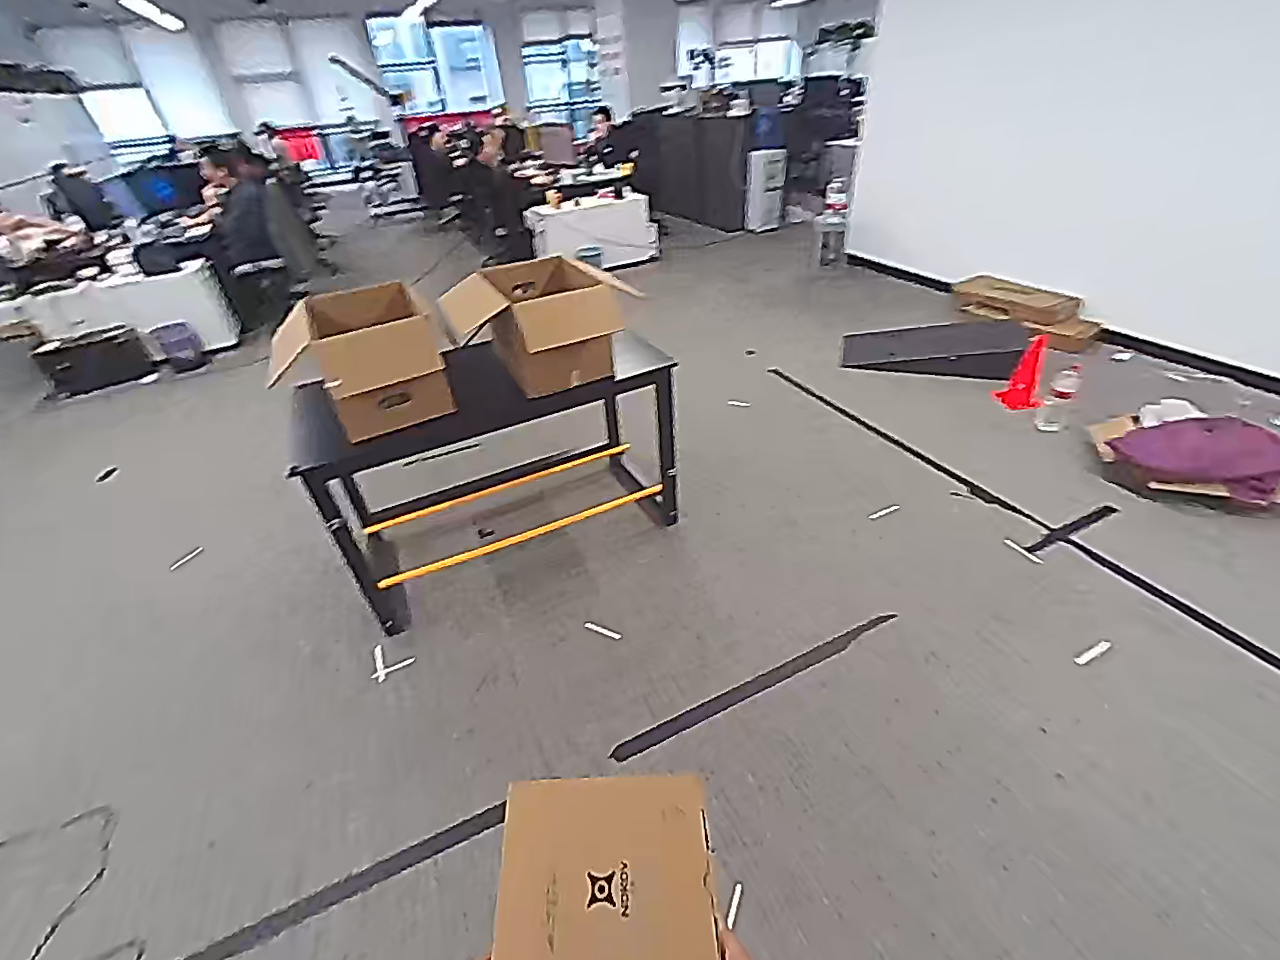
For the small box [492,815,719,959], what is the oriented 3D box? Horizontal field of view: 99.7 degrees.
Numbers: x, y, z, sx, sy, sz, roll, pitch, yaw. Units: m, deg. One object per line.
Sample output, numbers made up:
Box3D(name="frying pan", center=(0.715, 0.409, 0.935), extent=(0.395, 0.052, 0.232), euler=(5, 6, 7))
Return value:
Box3D(name="small box", center=(-0.027, 0.414, 0.477), extent=(0.179, 0.176, 0.168), euler=(-4, 46, -3))
